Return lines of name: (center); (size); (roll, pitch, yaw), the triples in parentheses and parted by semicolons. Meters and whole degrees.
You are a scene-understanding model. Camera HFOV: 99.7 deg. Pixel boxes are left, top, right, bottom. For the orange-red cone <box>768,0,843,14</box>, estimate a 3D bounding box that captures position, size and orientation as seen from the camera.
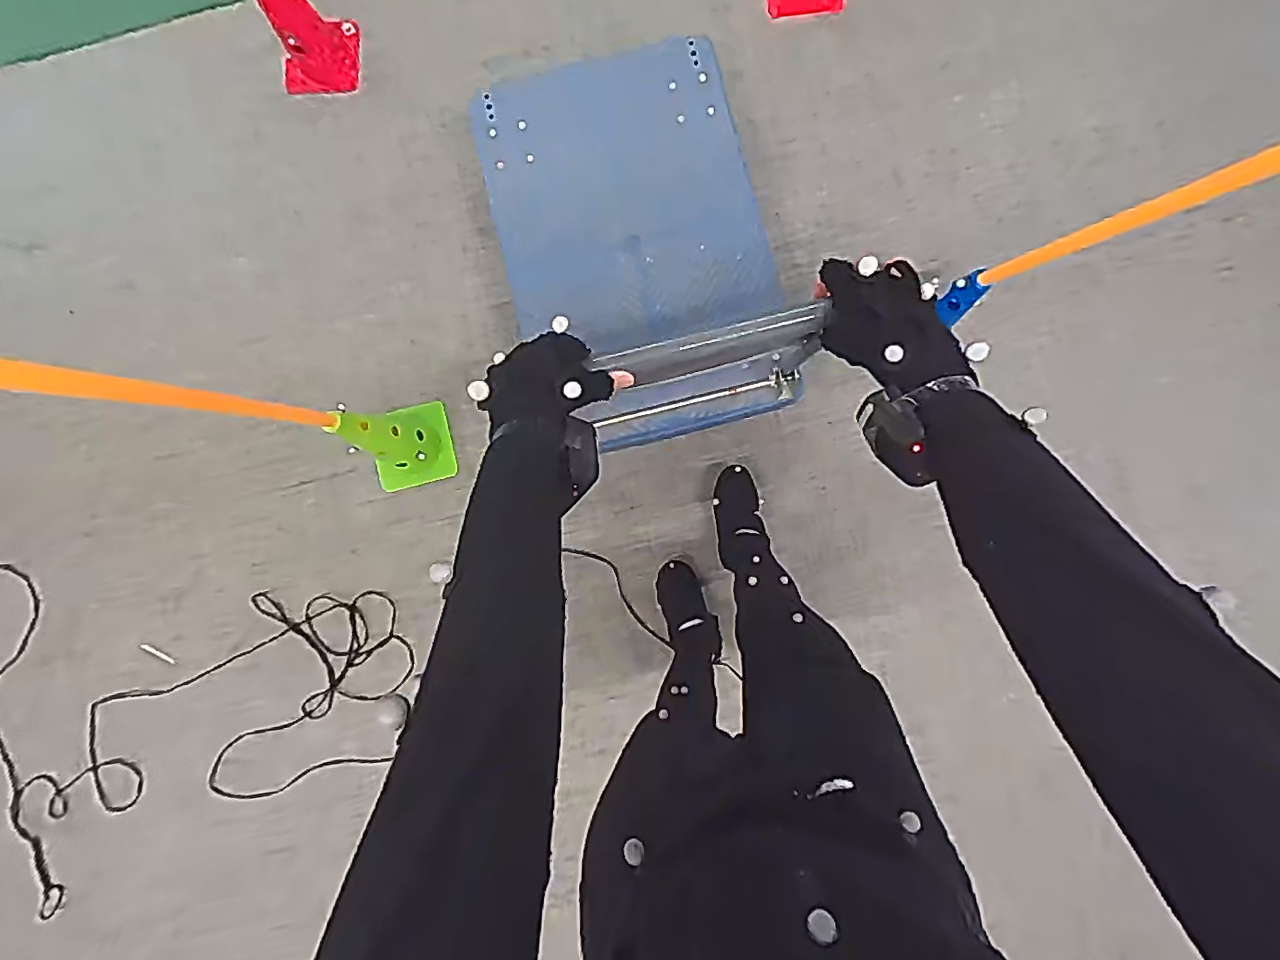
orange-red cone: (0.423, -1.321, 1.238); (0.198, 0.360, 0.199); (-2, 87, 3)
